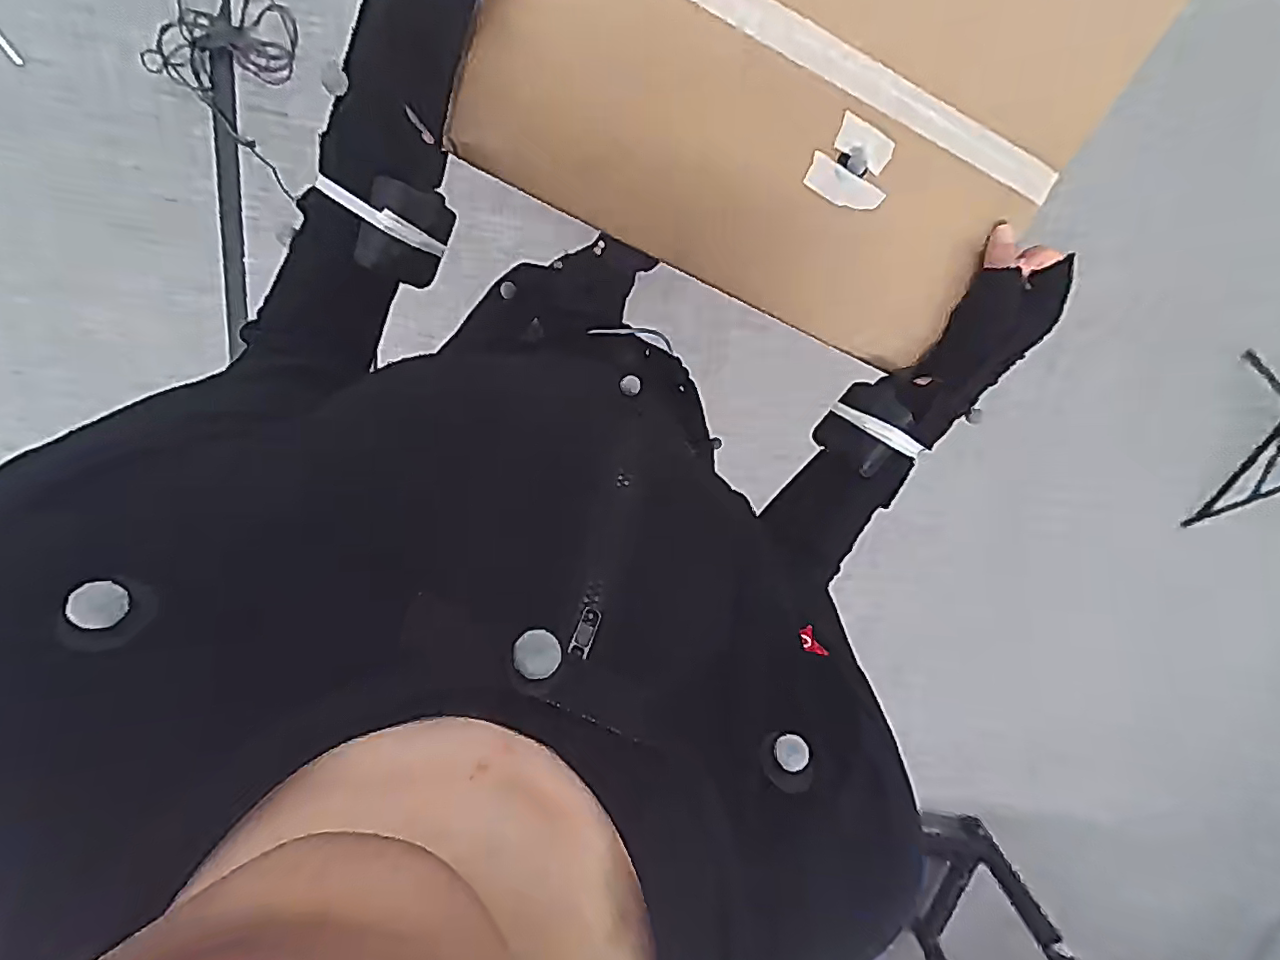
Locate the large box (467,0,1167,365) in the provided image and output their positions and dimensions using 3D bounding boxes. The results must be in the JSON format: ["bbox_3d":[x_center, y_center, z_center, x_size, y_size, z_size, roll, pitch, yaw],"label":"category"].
[{"bbox_3d":[0.113,-0.360,0.496,0.408,0.320,0.320,23,117,-11],"label":"large box"}]
